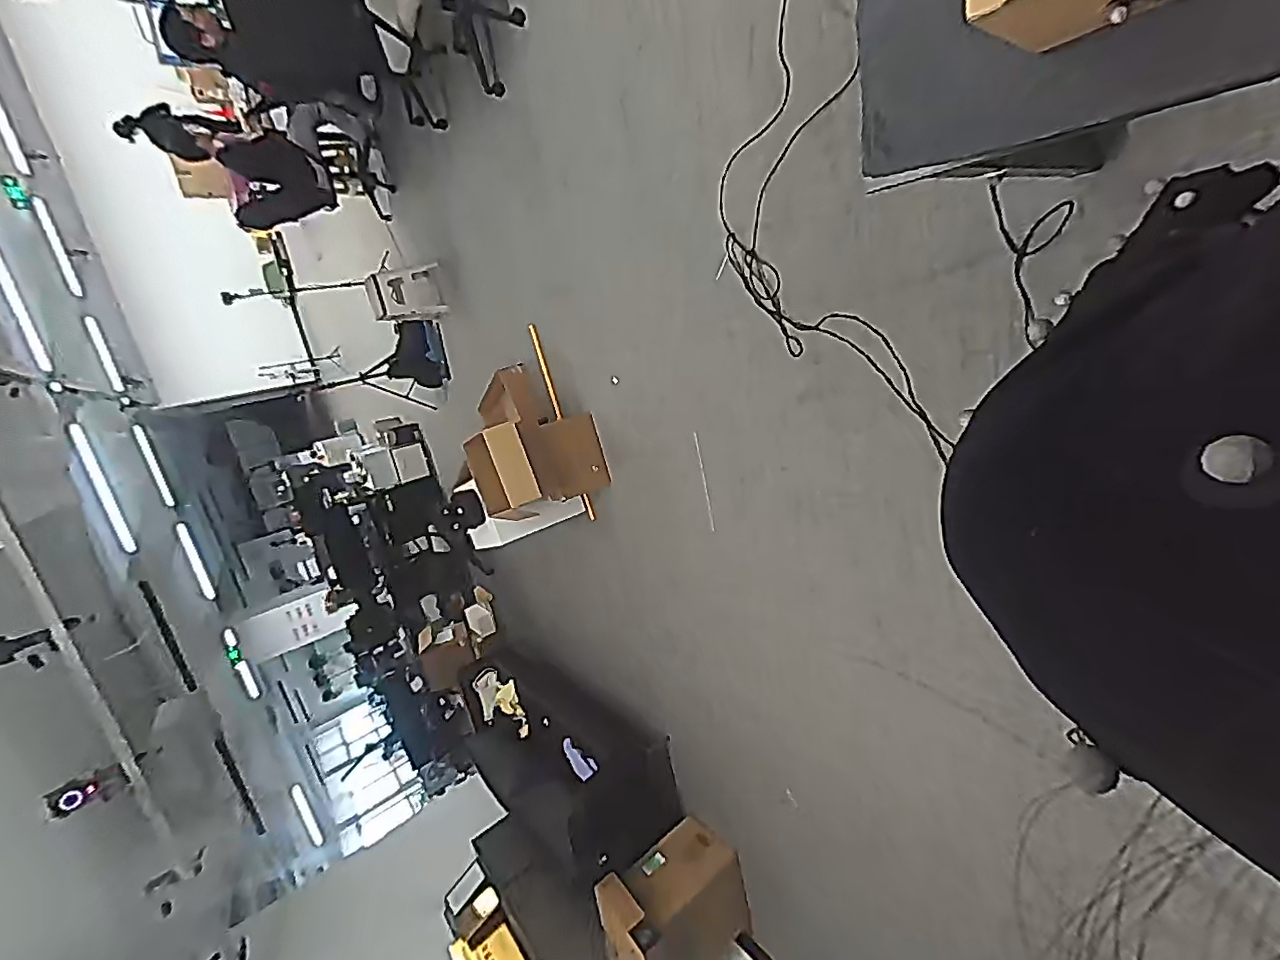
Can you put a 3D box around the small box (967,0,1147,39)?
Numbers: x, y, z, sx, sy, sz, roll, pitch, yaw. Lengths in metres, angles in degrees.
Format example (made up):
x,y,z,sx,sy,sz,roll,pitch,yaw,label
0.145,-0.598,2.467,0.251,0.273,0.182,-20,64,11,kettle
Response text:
x,y,z,sx,sy,sz,roll,pitch,yaw,label
0.389,-0.502,0.433,0.168,0.176,0.179,14,118,51,small box
